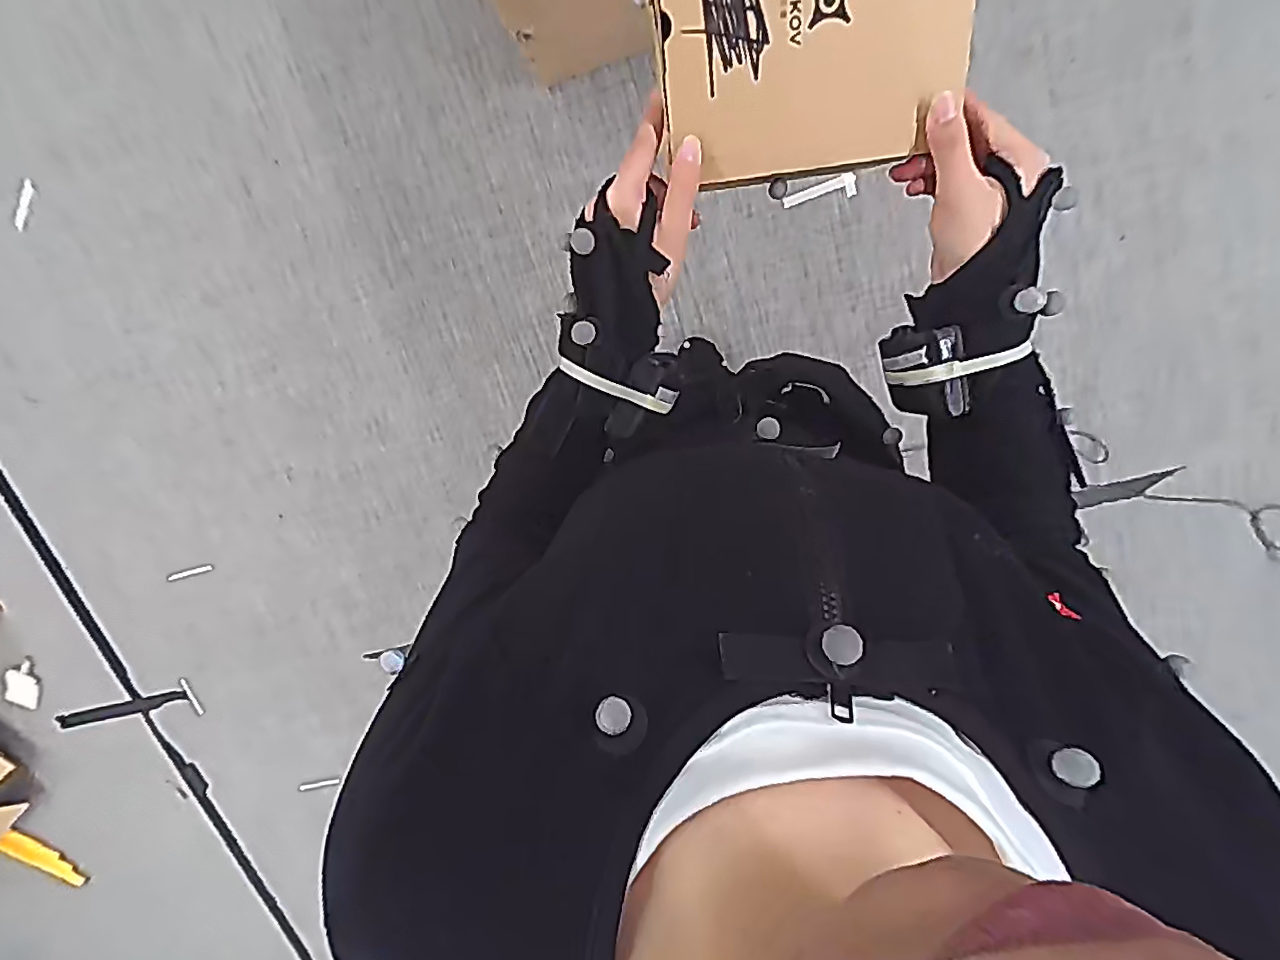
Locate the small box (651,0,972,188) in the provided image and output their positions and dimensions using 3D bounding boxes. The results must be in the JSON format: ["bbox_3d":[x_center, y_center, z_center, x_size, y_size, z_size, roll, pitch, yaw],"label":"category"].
[{"bbox_3d":[0.097,-0.303,0.368,0.179,0.176,0.168,-5,116,4],"label":"small box"}]
